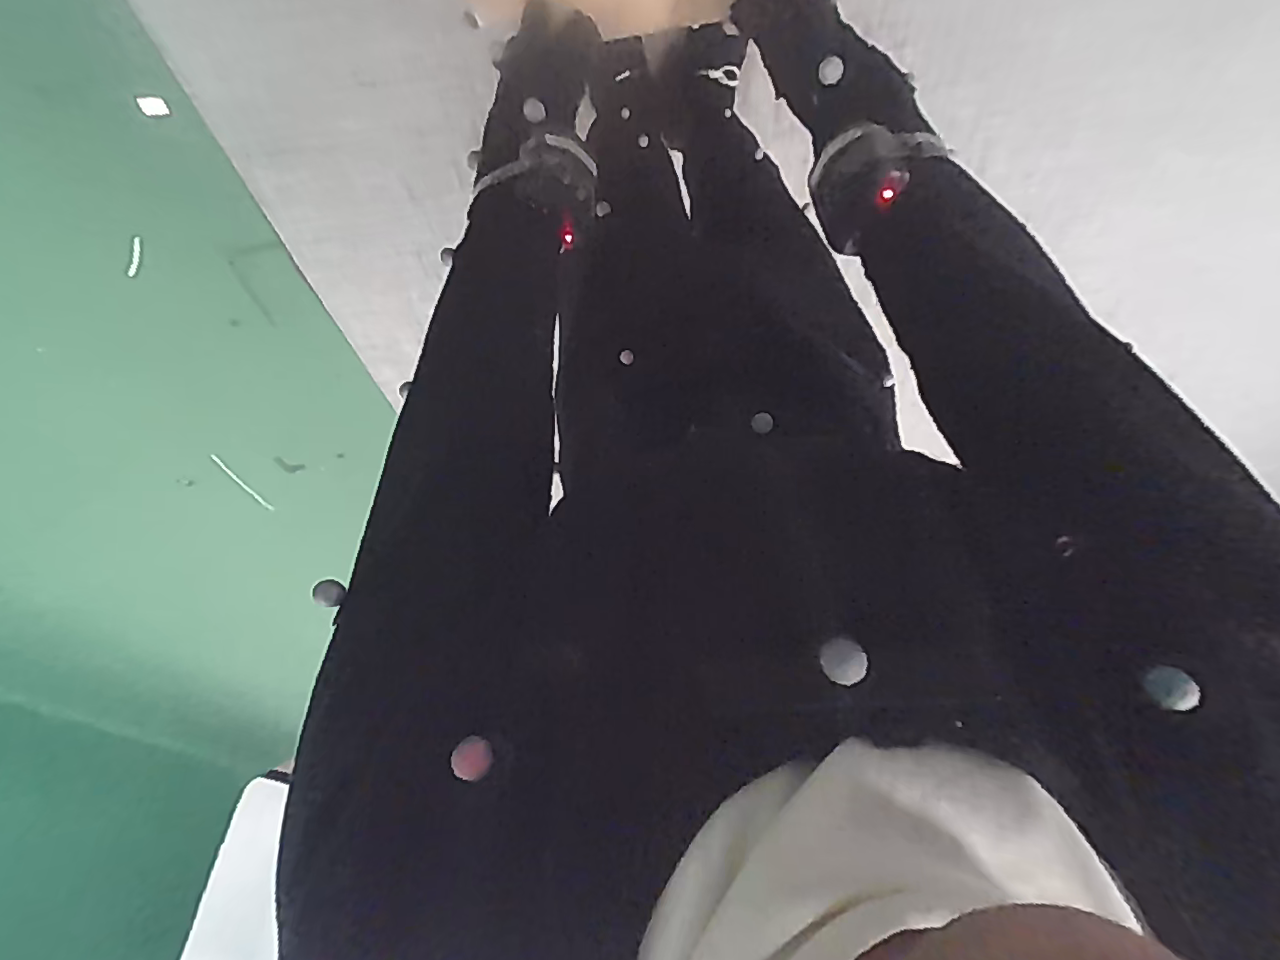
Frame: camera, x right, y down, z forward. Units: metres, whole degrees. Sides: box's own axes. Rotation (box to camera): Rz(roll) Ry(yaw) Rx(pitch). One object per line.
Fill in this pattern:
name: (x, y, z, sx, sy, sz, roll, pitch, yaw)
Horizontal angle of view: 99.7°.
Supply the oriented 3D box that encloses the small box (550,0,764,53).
small box: (0.005, -0.489, 0.445, 0.179, 0.176, 0.168, -5, 141, 6)
